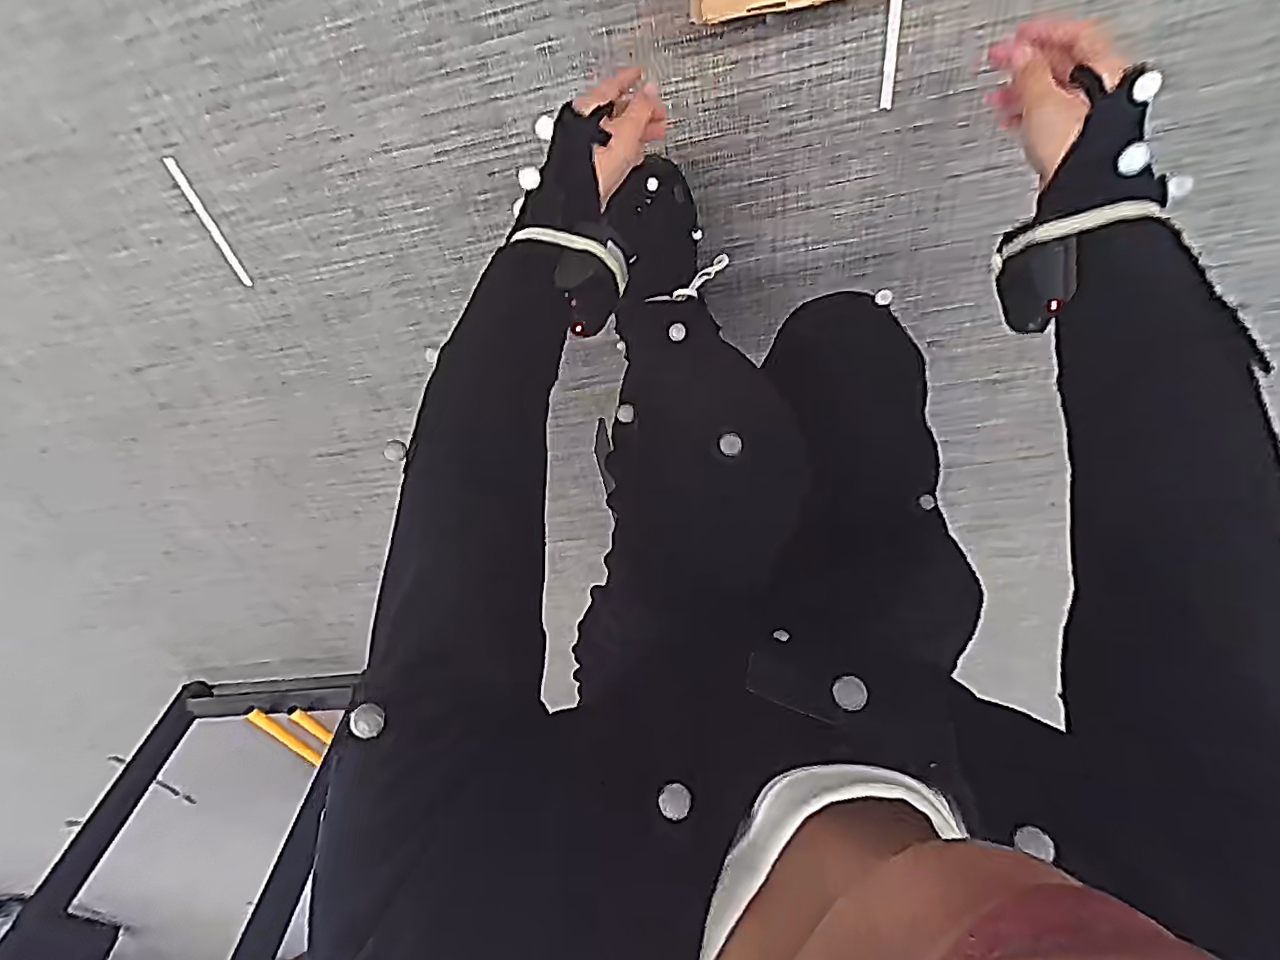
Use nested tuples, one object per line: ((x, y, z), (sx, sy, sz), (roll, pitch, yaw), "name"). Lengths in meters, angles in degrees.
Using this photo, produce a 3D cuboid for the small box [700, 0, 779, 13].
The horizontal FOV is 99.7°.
((0.118, -0.473, 0.398), (0.168, 0.176, 0.179), (-8, 131, 7), "small box")
